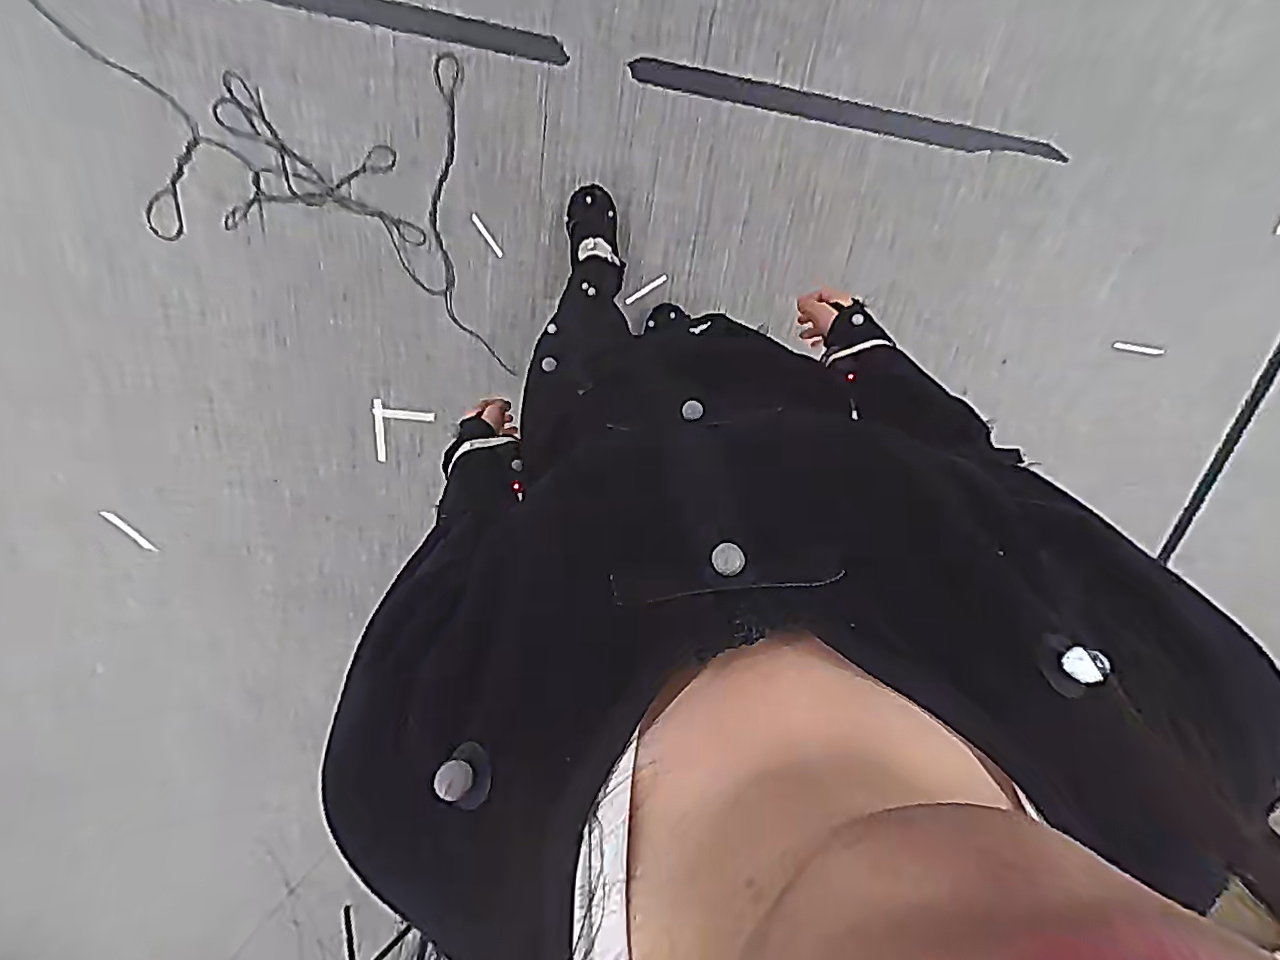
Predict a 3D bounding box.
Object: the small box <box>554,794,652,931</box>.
[{"bbox_3d":[-0.080,0.798,1.138,0.168,0.176,0.179,11,112,-8],"label":"small box"}]
